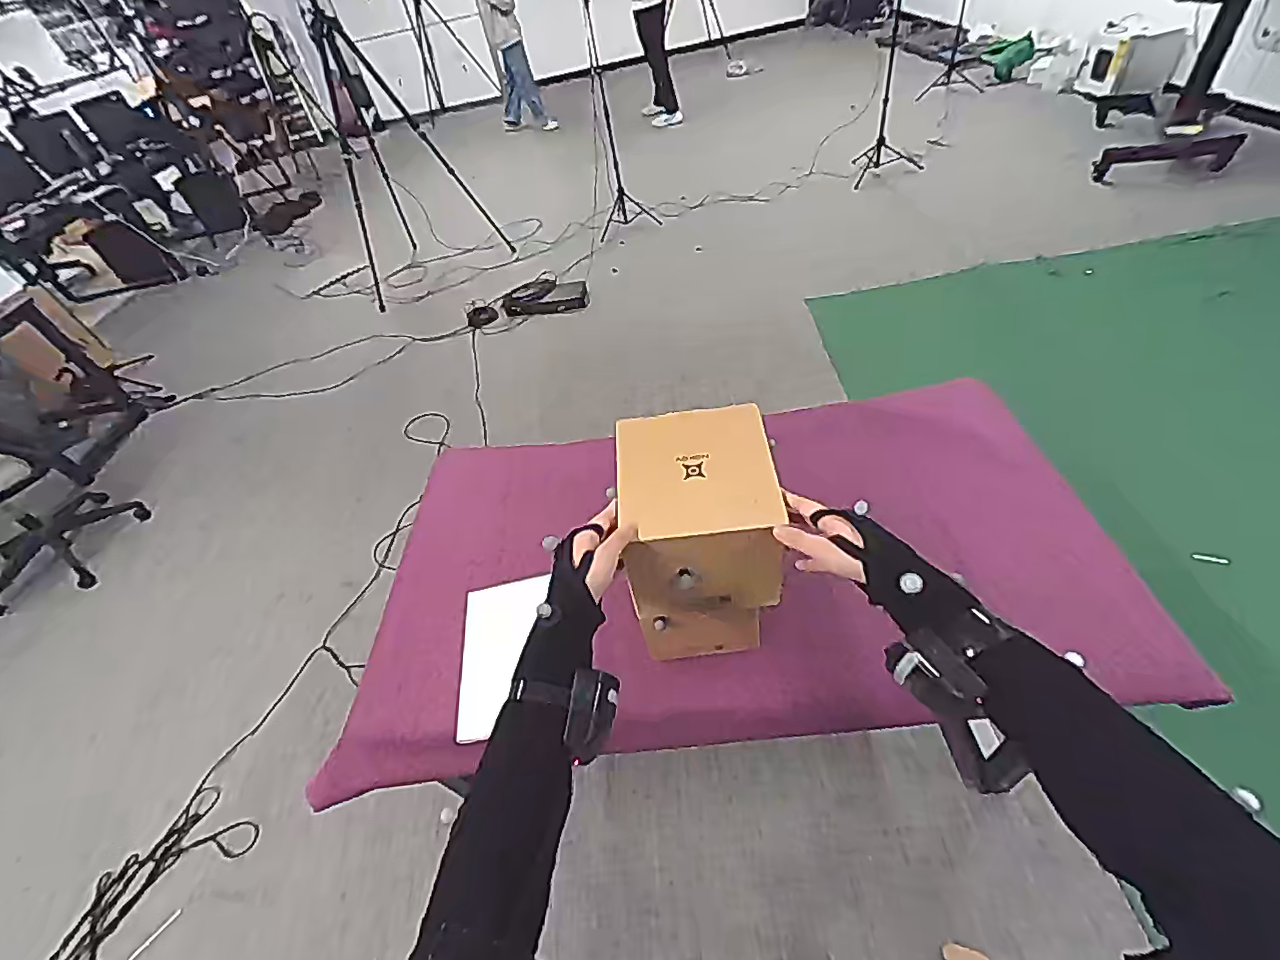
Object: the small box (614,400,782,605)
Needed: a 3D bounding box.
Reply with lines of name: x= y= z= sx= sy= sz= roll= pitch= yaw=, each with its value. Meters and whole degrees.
small box: x=0.064 y=0.034 z=0.633 sx=0.168 sy=0.176 sz=0.179 roll=-6 pitch=49 yaw=3
